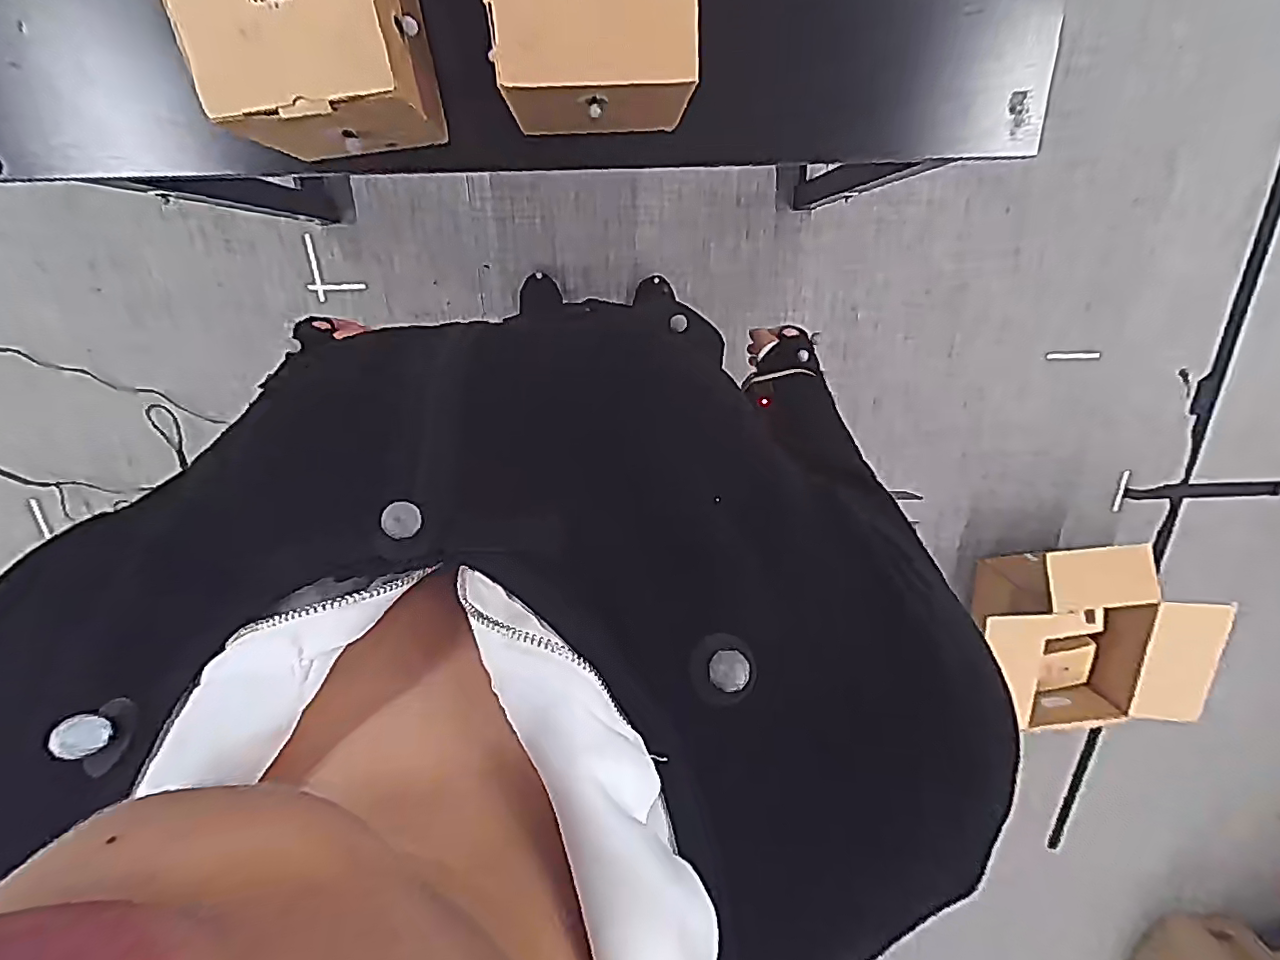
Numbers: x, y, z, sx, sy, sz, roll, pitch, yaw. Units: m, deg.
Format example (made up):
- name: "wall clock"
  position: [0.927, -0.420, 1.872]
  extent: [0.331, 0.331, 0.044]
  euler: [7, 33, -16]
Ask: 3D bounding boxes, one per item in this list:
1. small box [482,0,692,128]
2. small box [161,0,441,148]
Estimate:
- name: "small box"
  position: [-0.049, -0.450, 0.513]
  extent: [0.179, 0.176, 0.168]
  euler: [-4, 111, -3]
- name: "small box"
  position: [-0.305, -0.427, 0.503]
  extent: [0.168, 0.176, 0.179]
  euler: [-8, 111, 0]
